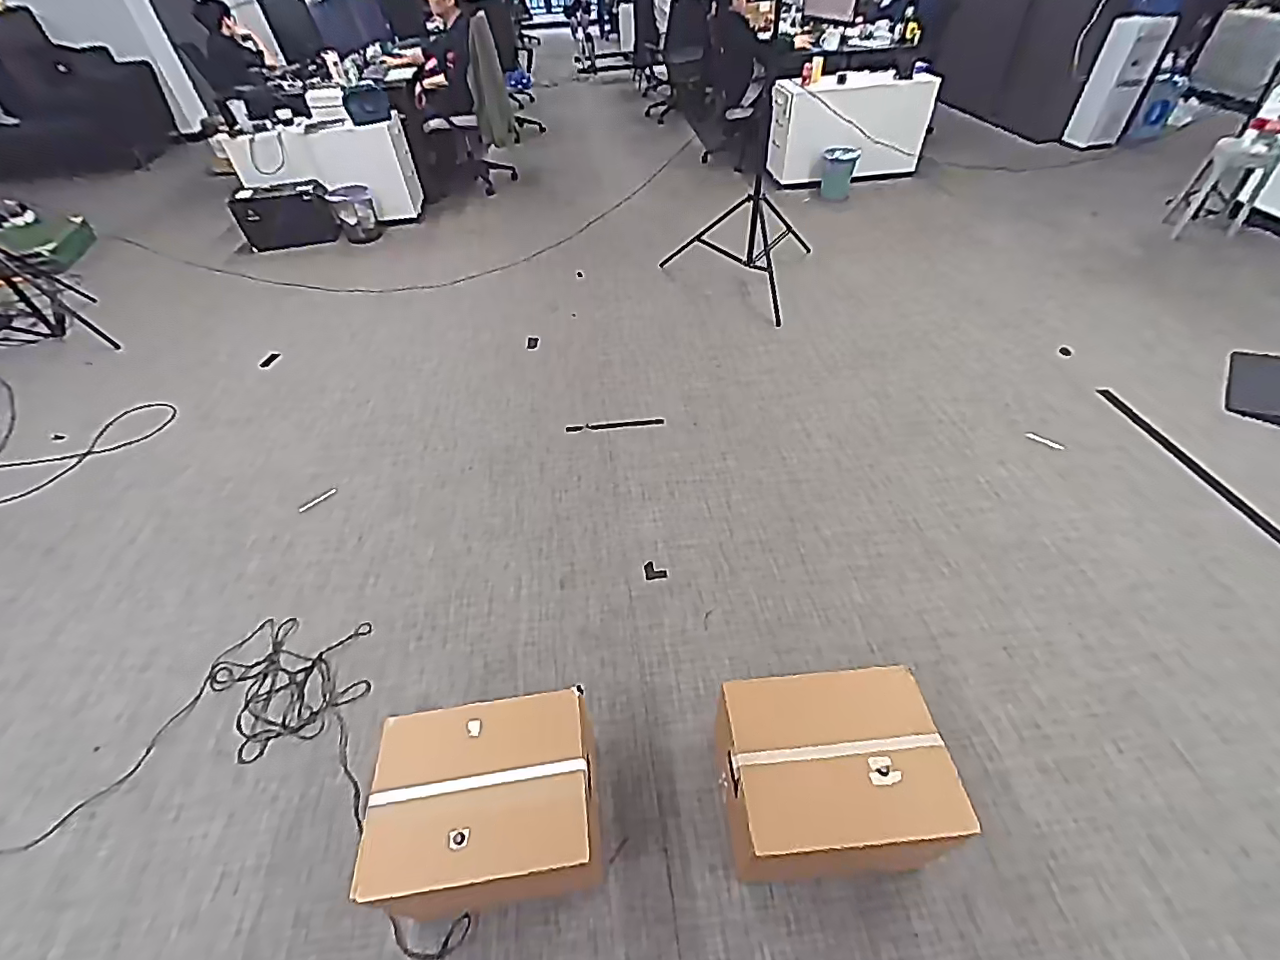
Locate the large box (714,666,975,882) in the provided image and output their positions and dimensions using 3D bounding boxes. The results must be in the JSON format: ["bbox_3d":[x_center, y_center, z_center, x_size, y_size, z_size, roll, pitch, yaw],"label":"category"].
[{"bbox_3d":[0.392,0.630,1.161,0.408,0.320,0.320,-4,46,-2],"label":"large box"}]
